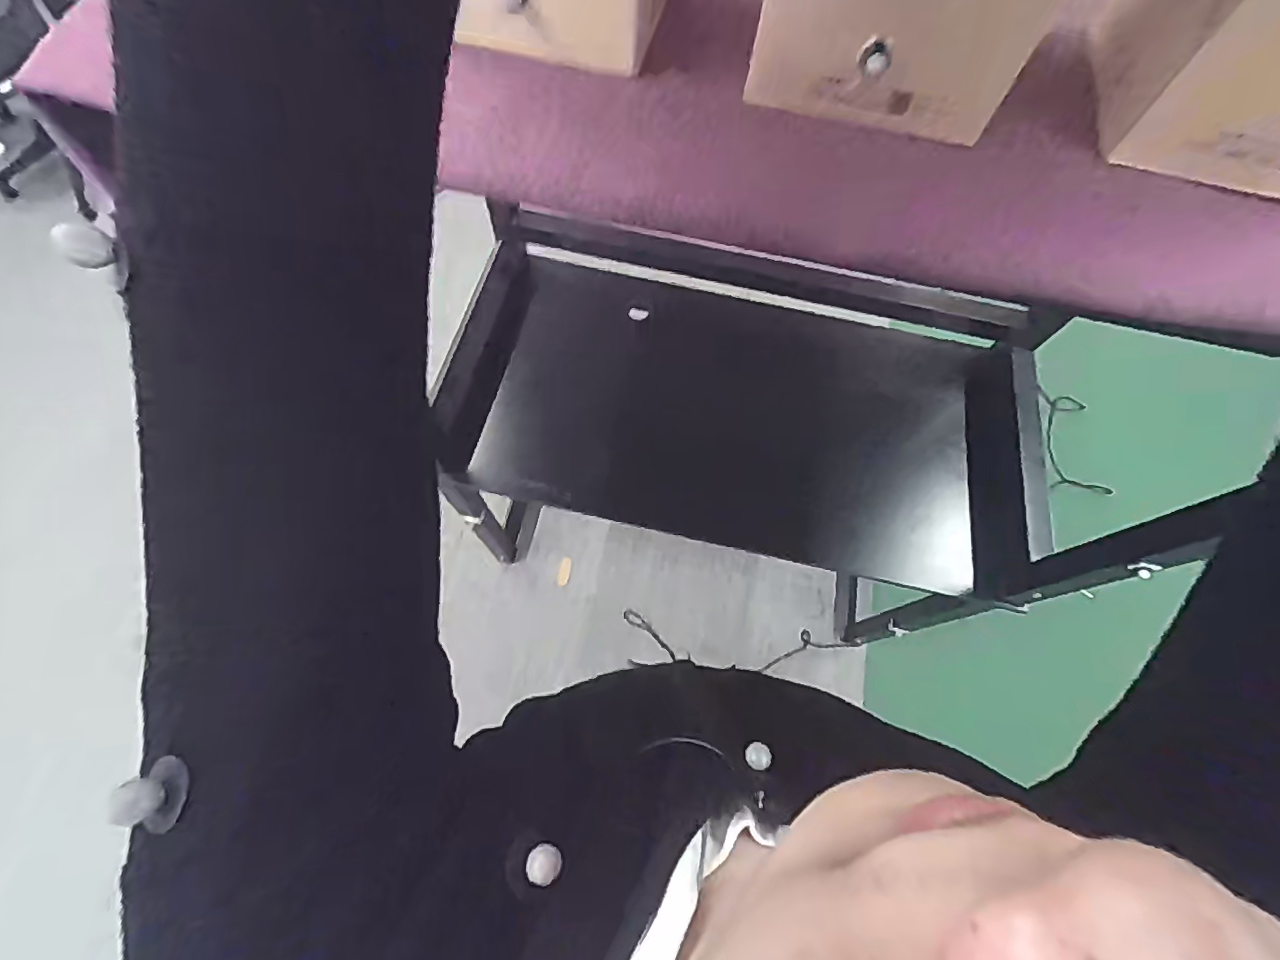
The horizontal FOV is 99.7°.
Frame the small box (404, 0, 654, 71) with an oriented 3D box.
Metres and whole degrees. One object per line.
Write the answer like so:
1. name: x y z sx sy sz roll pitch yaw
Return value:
1. small box: -0.067 -0.418 0.360 0.179 0.176 0.168 14 67 2
